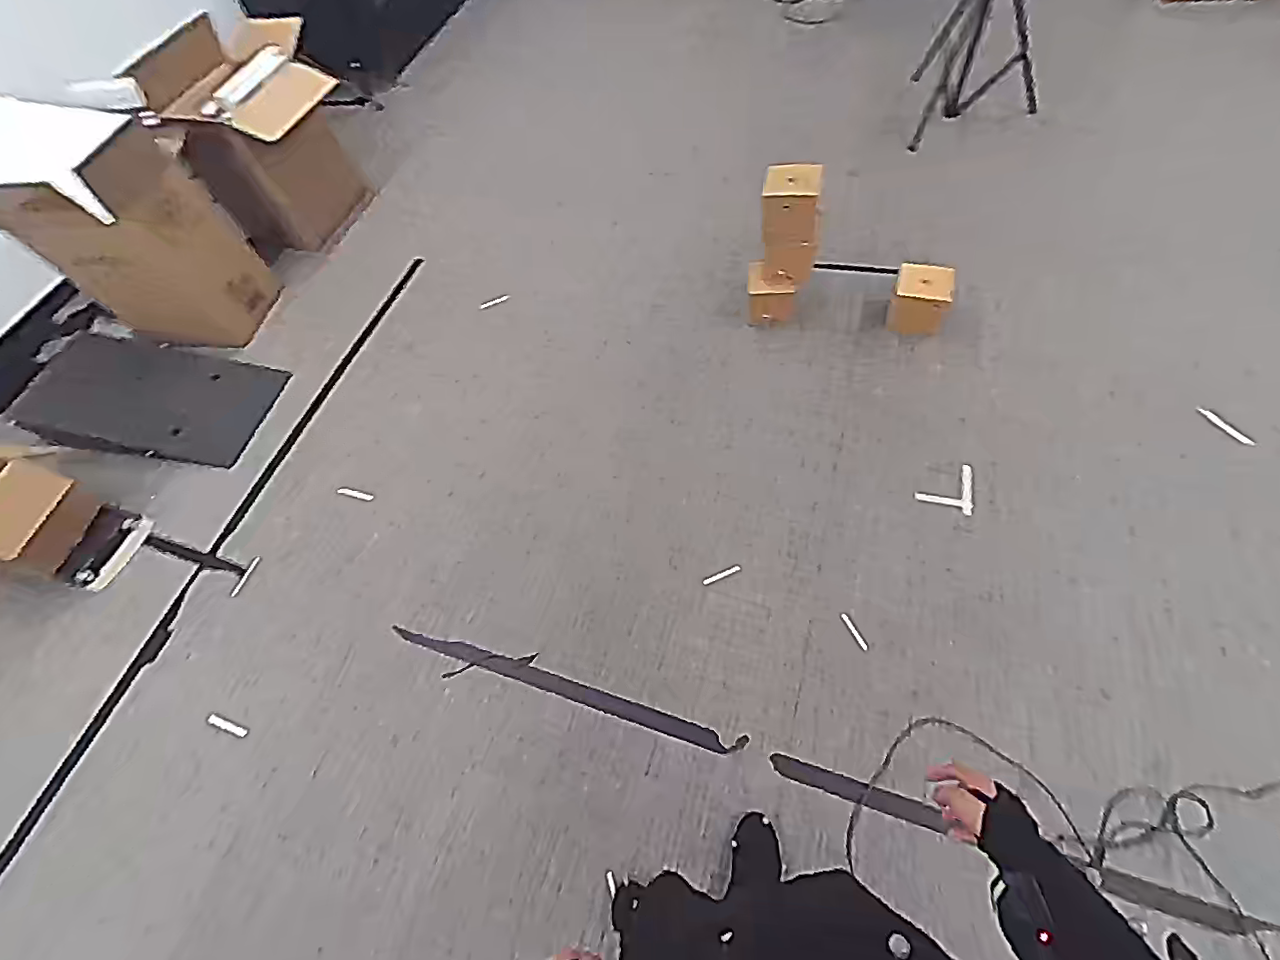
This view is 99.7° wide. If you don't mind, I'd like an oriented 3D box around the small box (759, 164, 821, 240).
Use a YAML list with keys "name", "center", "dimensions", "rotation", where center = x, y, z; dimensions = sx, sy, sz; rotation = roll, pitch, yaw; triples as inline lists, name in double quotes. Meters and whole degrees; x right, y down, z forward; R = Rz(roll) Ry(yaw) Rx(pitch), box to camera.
- name: "small box"
  center: [0.493, -0.918, 1.792]
  dimensions: [0.179, 0.176, 0.168]
  rotation: [8, 62, 15]

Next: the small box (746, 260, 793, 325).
- name: "small box"
  center: [0.490, -0.714, 2.057]
  dimensions: [0.168, 0.176, 0.179]
  rotation: [1, 61, 11]

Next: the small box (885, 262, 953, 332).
- name: "small box"
  center: [0.992, -0.651, 1.934]
  dimensions: [0.179, 0.176, 0.168]
  rotation: [13, 64, 15]

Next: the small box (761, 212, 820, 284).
- name: "small box"
  center: [0.533, -0.834, 1.928]
  dimensions: [0.168, 0.176, 0.179]
  rotation: [15, 64, 19]
